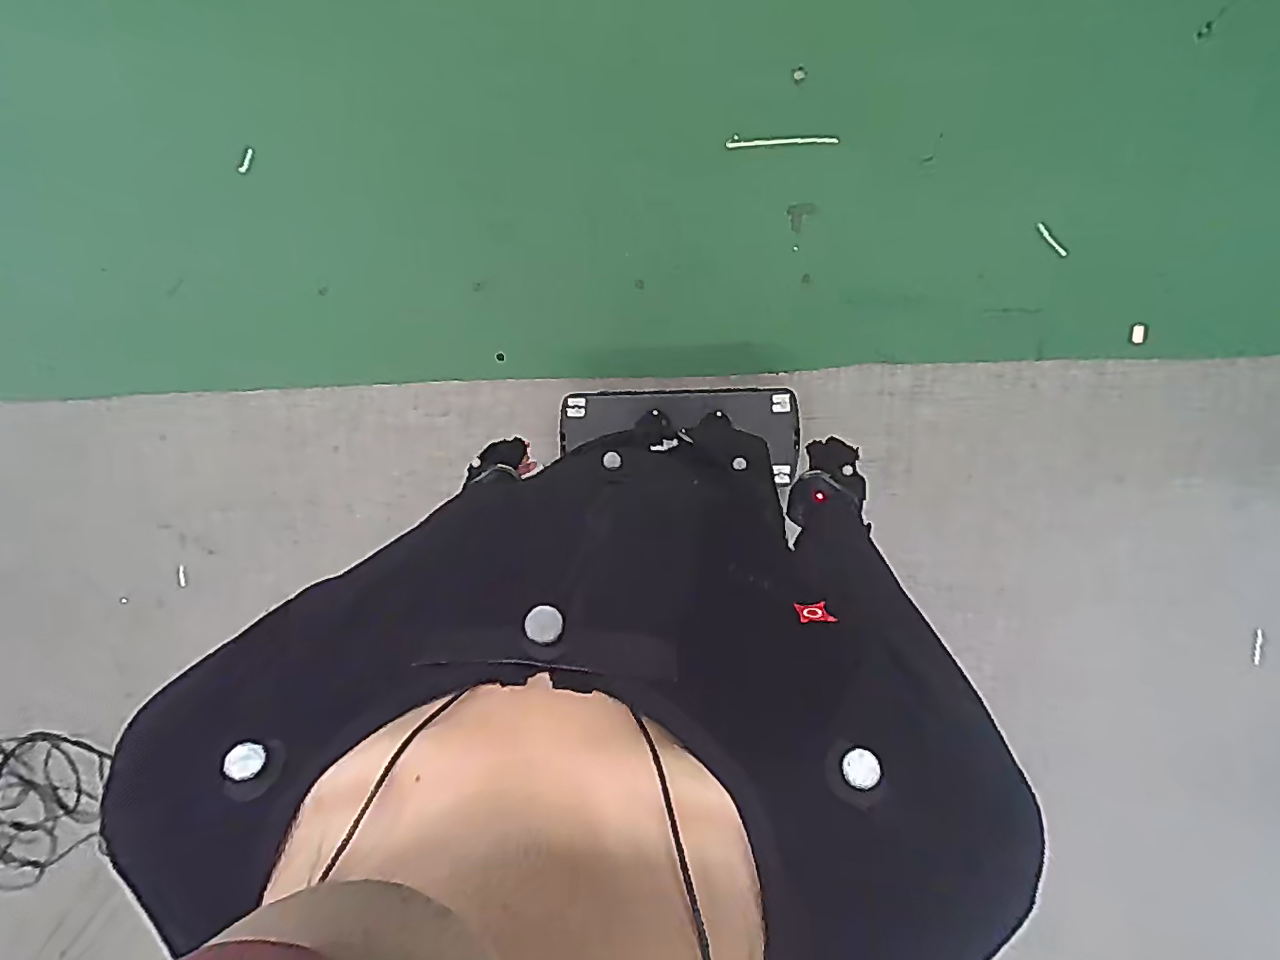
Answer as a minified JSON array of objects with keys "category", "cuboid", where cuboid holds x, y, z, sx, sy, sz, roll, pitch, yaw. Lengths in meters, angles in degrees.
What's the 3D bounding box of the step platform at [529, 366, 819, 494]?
[{"category":"step platform","cuboid":[0.081,-0.127,1.364,0.684,0.204,0.286,-2,98,4]}]
